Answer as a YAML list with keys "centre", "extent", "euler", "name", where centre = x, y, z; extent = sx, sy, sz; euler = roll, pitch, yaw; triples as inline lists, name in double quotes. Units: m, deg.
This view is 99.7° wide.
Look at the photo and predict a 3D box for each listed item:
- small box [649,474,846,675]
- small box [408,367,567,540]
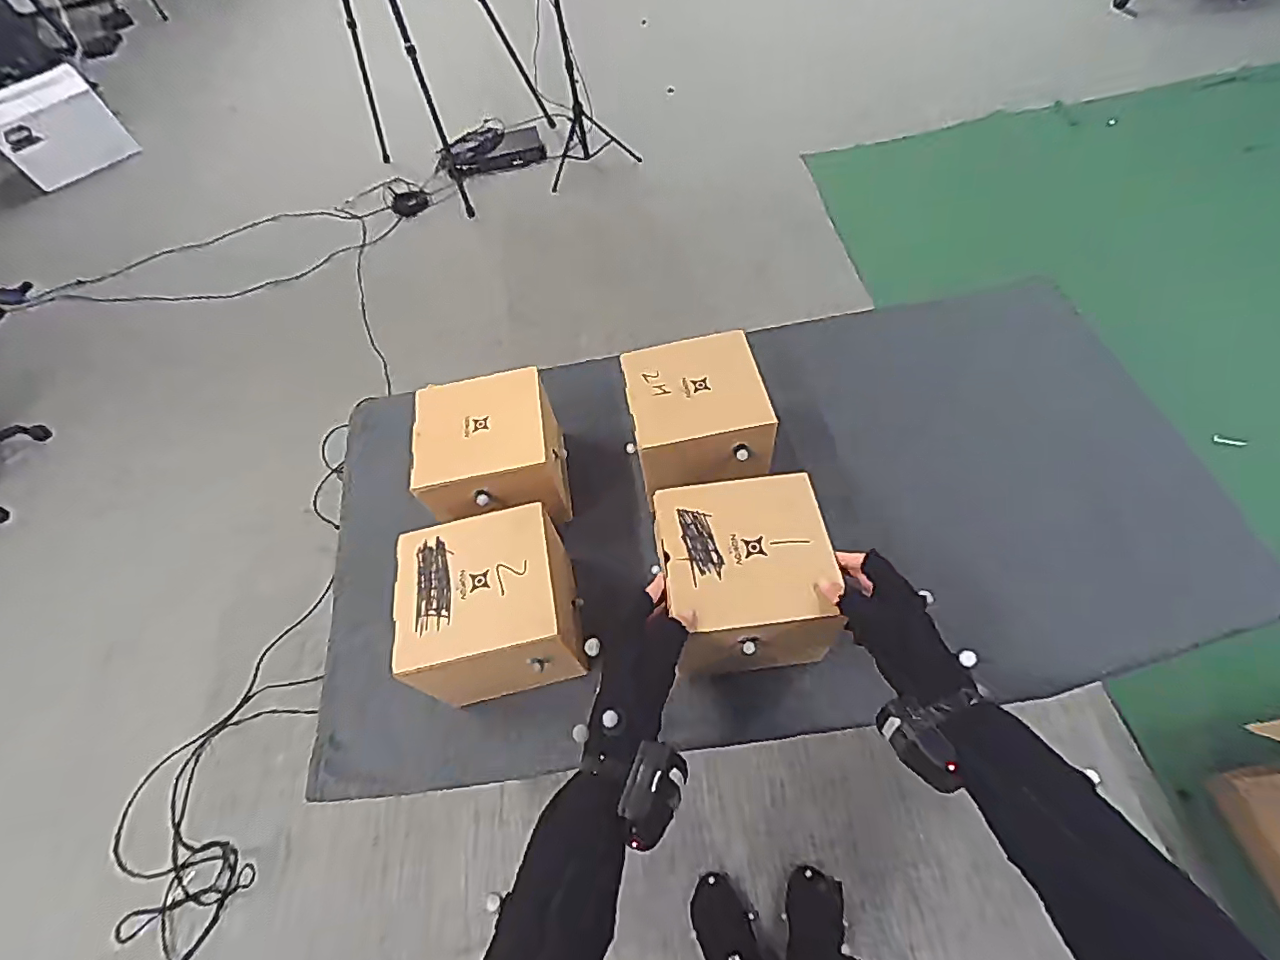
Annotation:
- centre: [0.111, 0.116, 0.624]
  extent: [0.179, 0.176, 0.168]
  euler: [-8, 57, 0]
  name: "small box"
- centre: [-0.207, -0.031, 0.776]
  extent: [0.179, 0.176, 0.168]
  euler: [-12, 59, 1]
  name: "small box"
